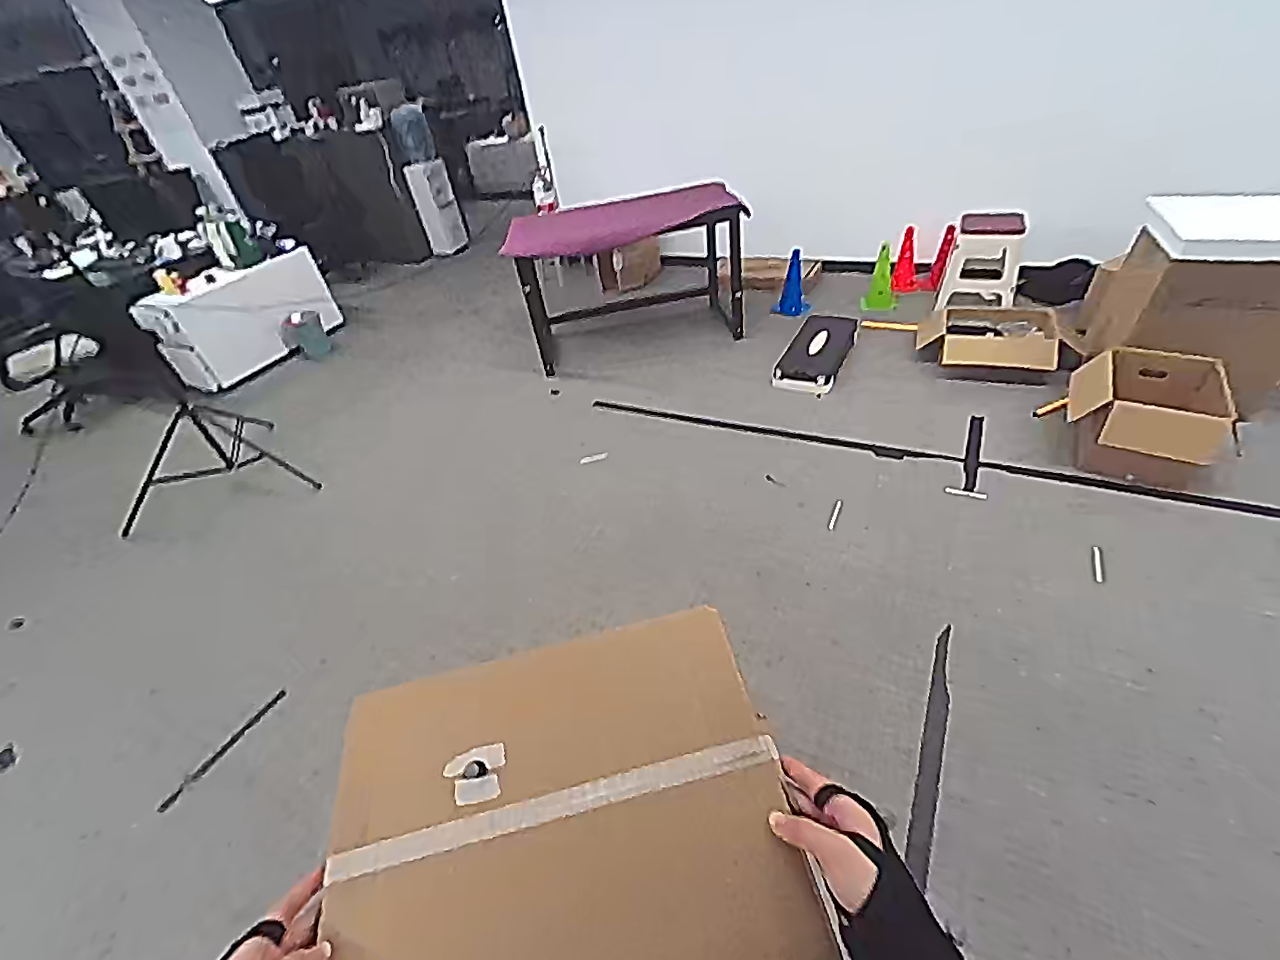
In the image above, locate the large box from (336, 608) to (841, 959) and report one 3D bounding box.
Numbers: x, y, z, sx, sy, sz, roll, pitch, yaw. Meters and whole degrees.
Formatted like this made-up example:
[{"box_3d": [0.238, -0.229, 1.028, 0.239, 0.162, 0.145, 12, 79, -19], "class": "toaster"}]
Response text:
[{"box_3d": [-0.047, 0.398, 0.603, 0.408, 0.320, 0.320, -15, 46, -2], "class": "large box"}]
